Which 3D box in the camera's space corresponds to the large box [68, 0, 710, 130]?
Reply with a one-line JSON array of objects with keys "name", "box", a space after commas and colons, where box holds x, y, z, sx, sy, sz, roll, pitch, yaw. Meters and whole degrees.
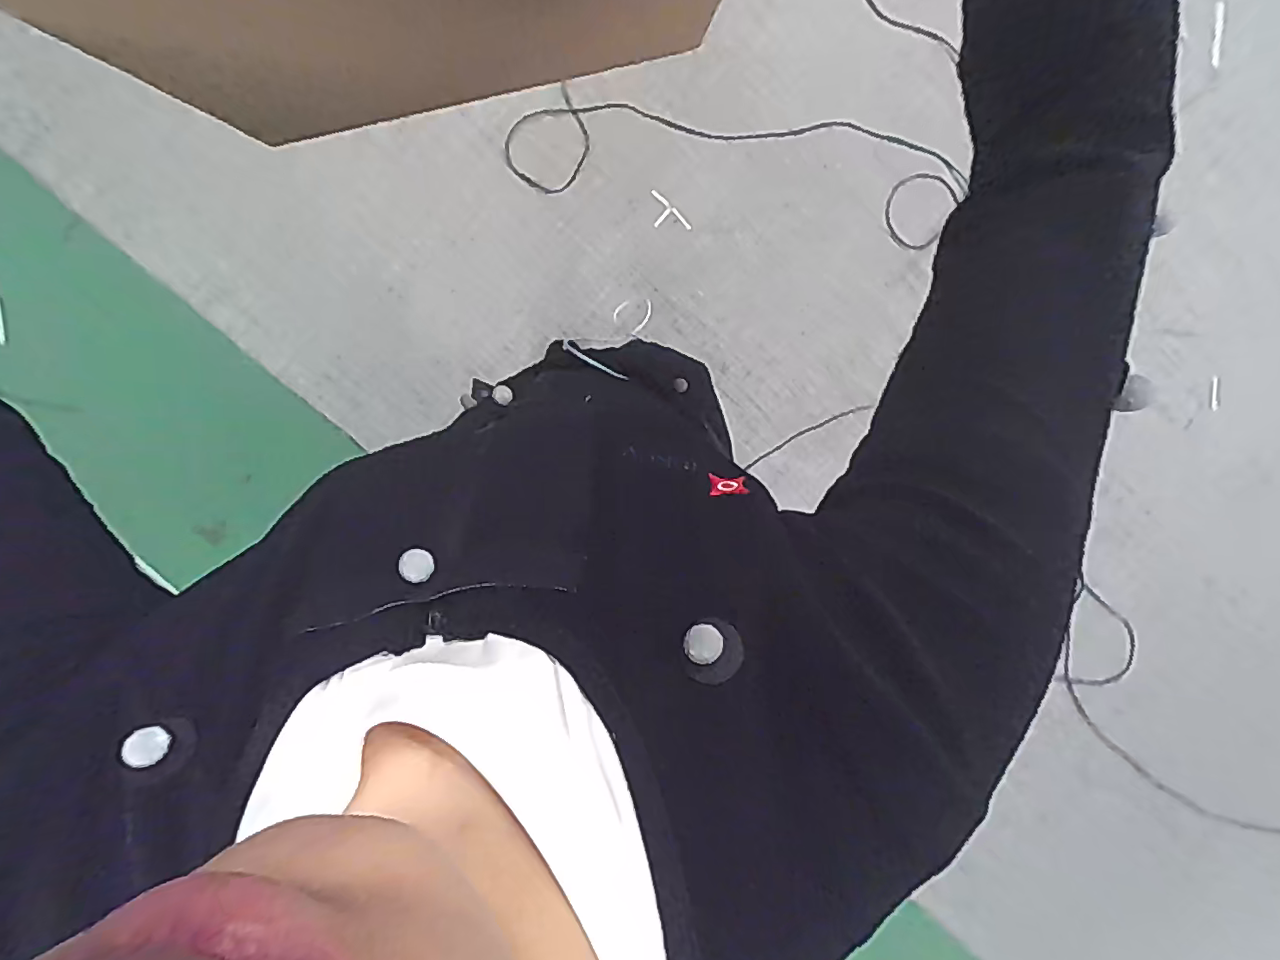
[{"name": "large box", "box": [-0.154, -0.455, 0.304, 0.408, 0.320, 0.320, -14, 109, -3]}]
